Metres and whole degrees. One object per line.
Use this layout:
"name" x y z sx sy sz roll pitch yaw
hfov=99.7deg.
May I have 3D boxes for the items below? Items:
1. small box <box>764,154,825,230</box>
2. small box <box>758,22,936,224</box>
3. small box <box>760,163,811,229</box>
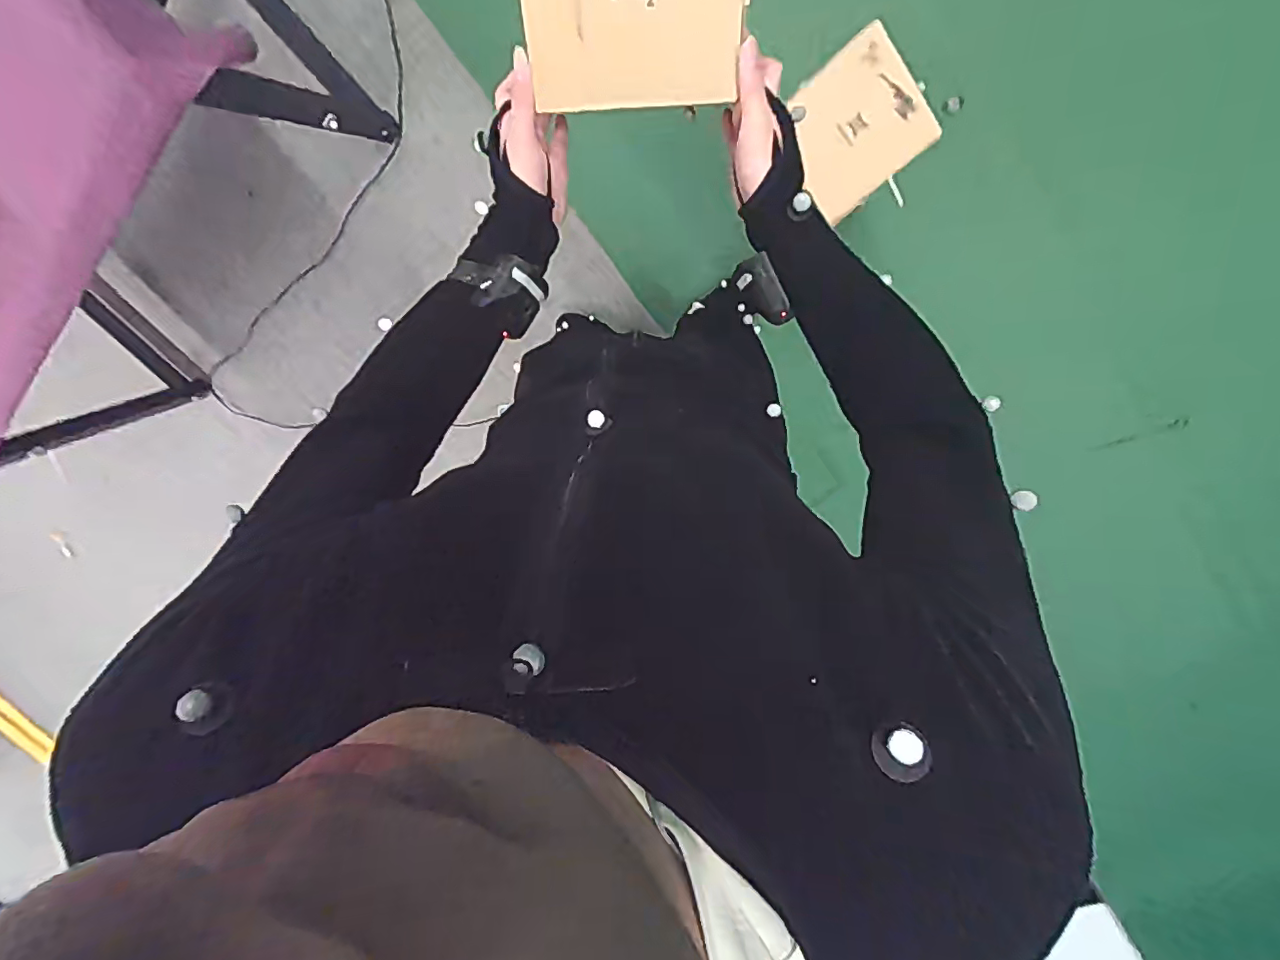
"small box" 0.368 -0.636 1.093 0.168 0.176 0.179 -36 104 23
"small box" 0.294 -0.506 0.800 0.179 0.176 0.168 -34 105 23
"small box" 0.393 -0.705 1.237 0.168 0.176 0.179 -38 104 23
